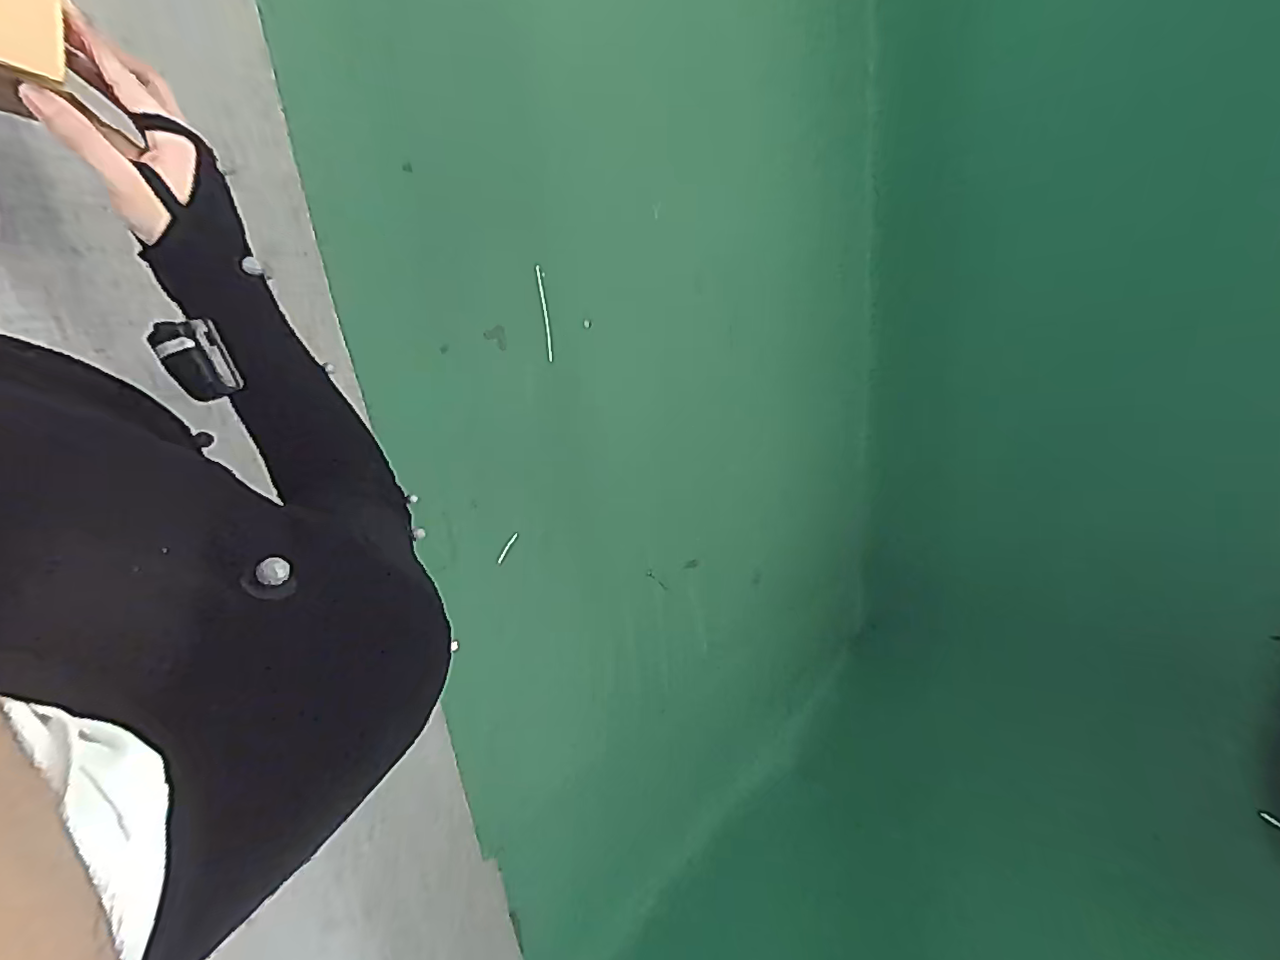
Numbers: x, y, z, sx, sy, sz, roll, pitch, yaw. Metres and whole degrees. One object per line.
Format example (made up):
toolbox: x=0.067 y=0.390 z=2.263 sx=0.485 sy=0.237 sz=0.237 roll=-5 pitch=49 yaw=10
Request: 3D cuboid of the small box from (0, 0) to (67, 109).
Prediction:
small box: x=-0.469 y=-0.351 z=0.320 sx=0.179 sy=0.176 sz=0.168 roll=-2 pitch=107 yaw=-44
